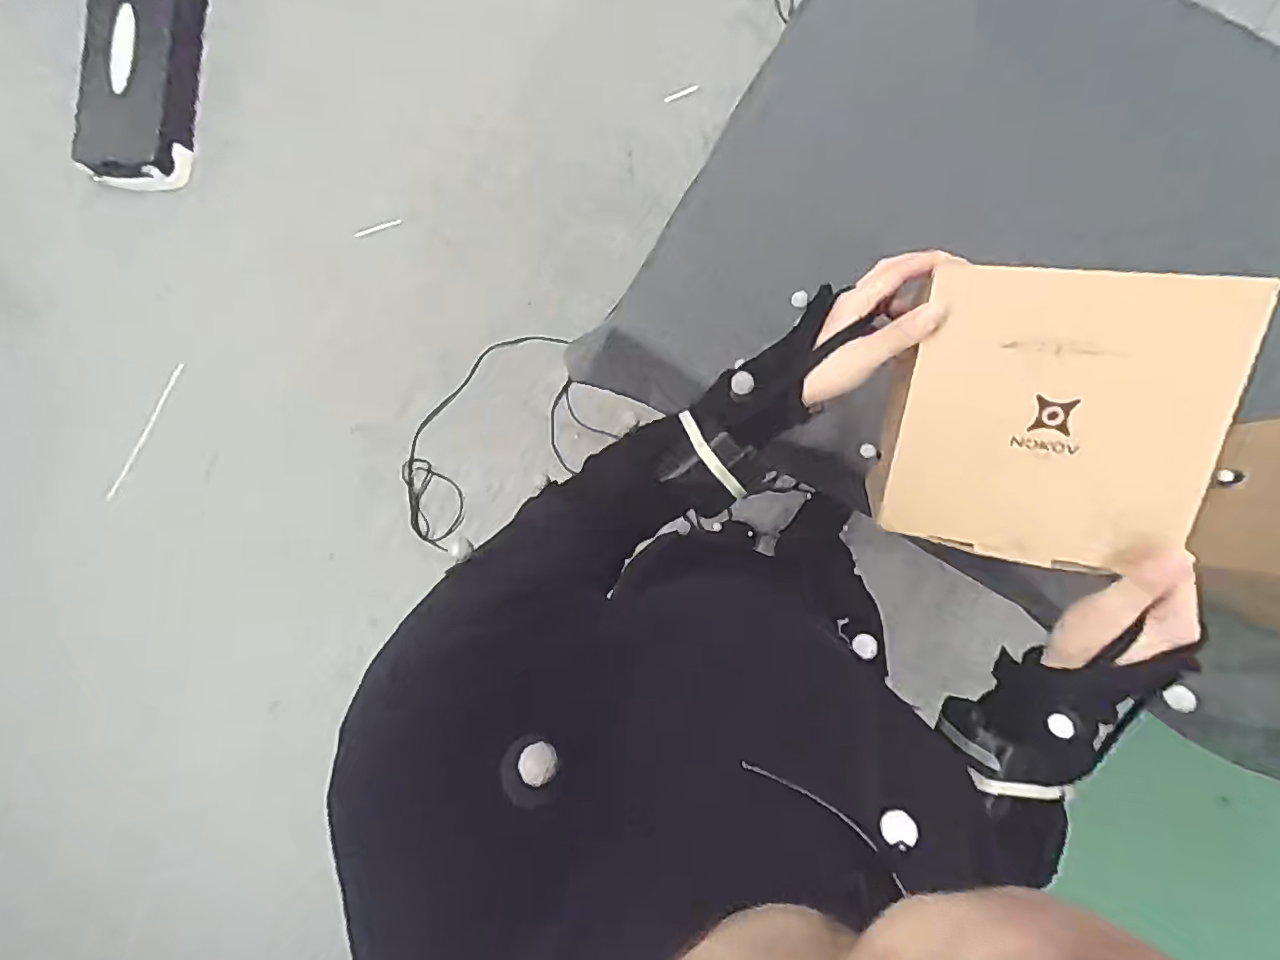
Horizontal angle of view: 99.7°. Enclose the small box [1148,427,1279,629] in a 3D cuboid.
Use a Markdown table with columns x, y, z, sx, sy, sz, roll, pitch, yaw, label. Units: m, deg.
| x | y | z | sx | sy | sz | roll | pitch | yaw | label |
| --- | --- | --- | --- | --- | --- | --- | --- | --- | --- |
| 0.641 | 0.053 | 0.487 | 0.179 | 0.176 | 0.168 | 30 | 92 | 7 | small box |
